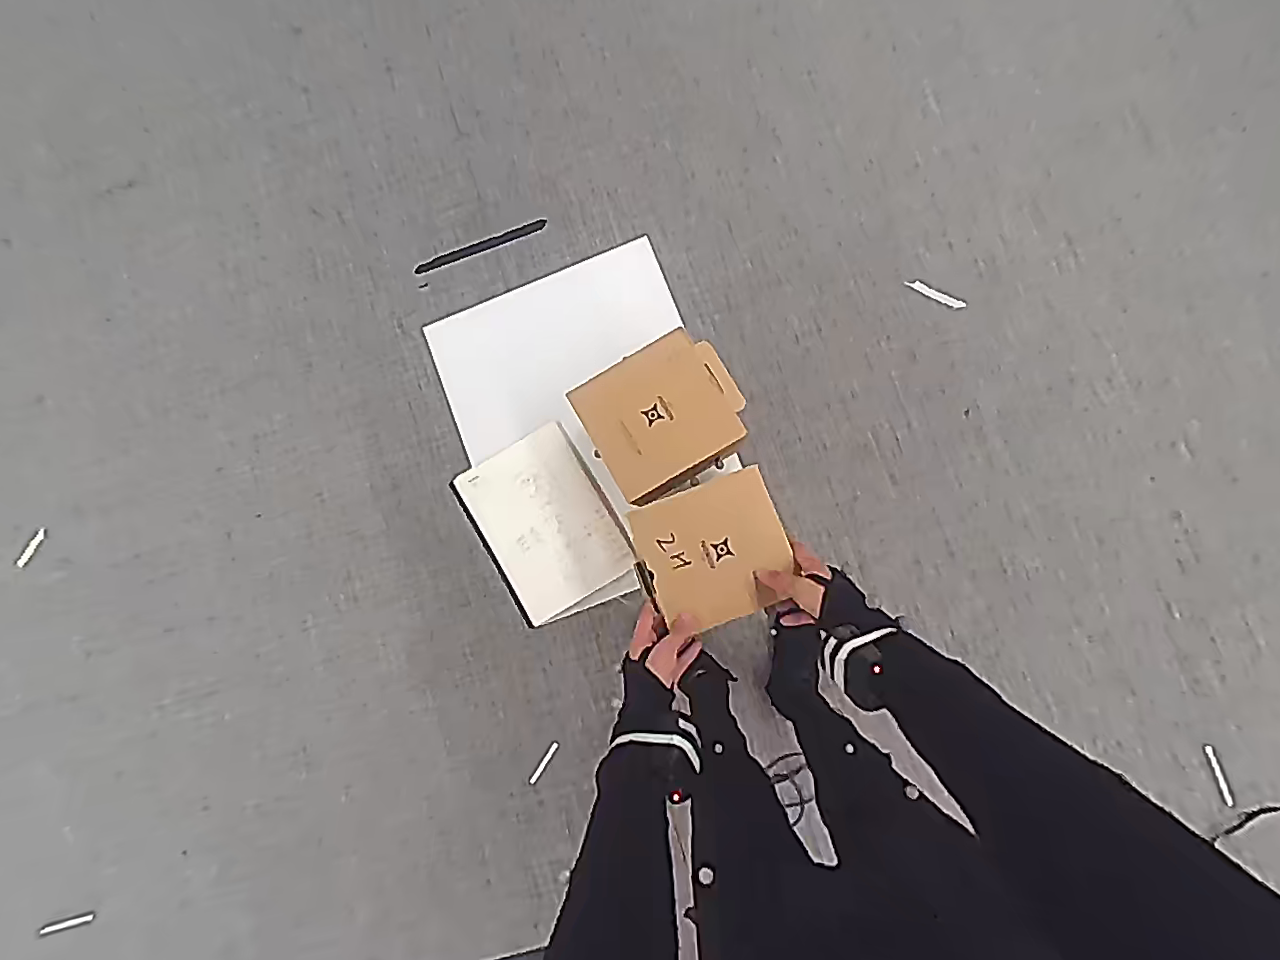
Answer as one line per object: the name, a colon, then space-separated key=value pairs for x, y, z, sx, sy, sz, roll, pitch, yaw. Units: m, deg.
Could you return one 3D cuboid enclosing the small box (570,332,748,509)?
small box: x=0.028 y=-0.071 z=0.761 sx=0.179 sy=0.176 sz=0.168 roll=-31 pitch=82 yaw=2
